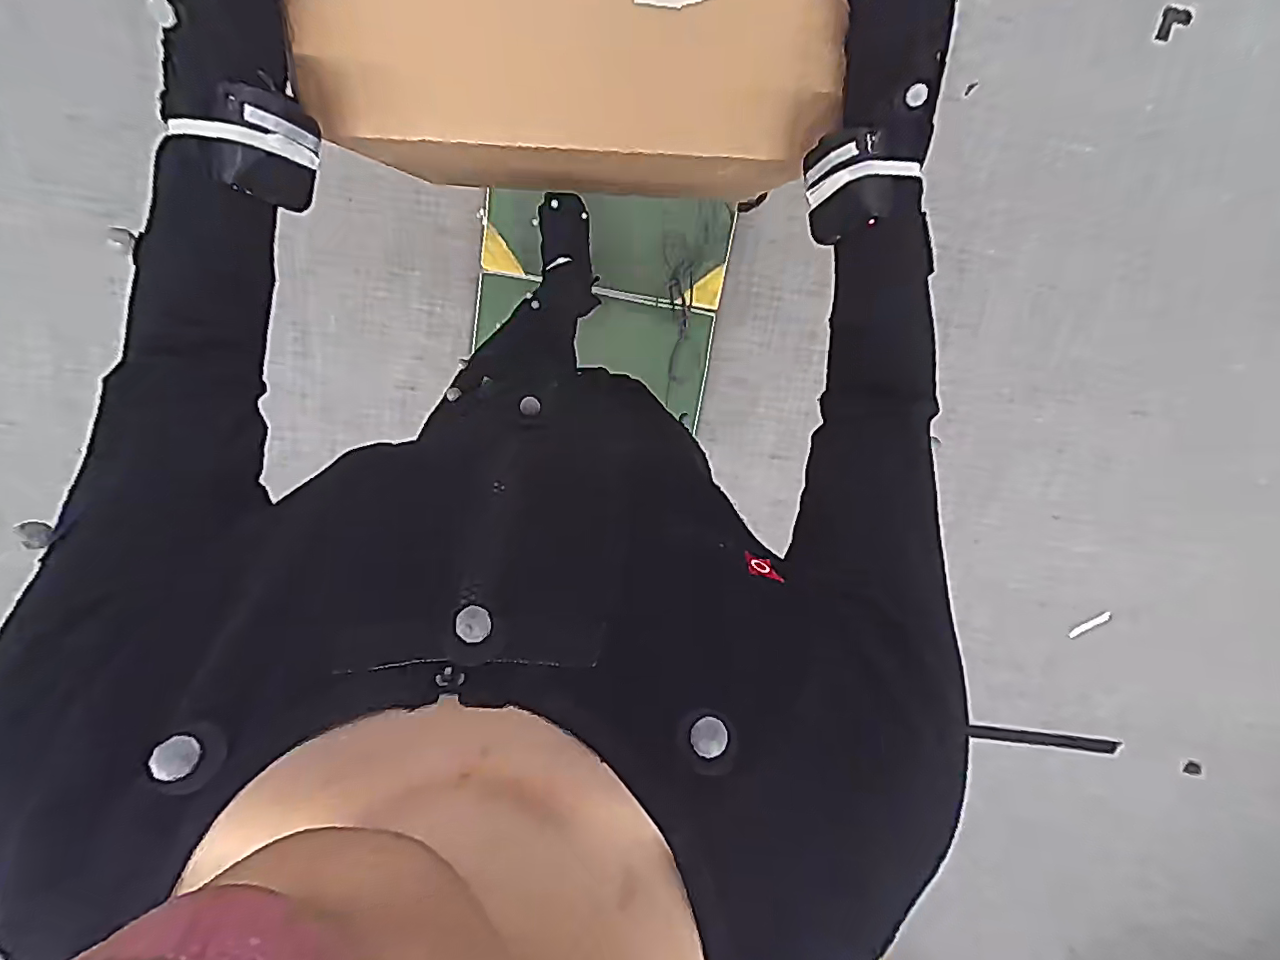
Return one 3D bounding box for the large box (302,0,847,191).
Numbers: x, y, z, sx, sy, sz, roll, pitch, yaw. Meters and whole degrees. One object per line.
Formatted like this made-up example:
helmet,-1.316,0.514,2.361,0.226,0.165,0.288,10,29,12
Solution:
large box,-0.052,-0.466,0.507,0.408,0.320,0.320,0,112,-4
